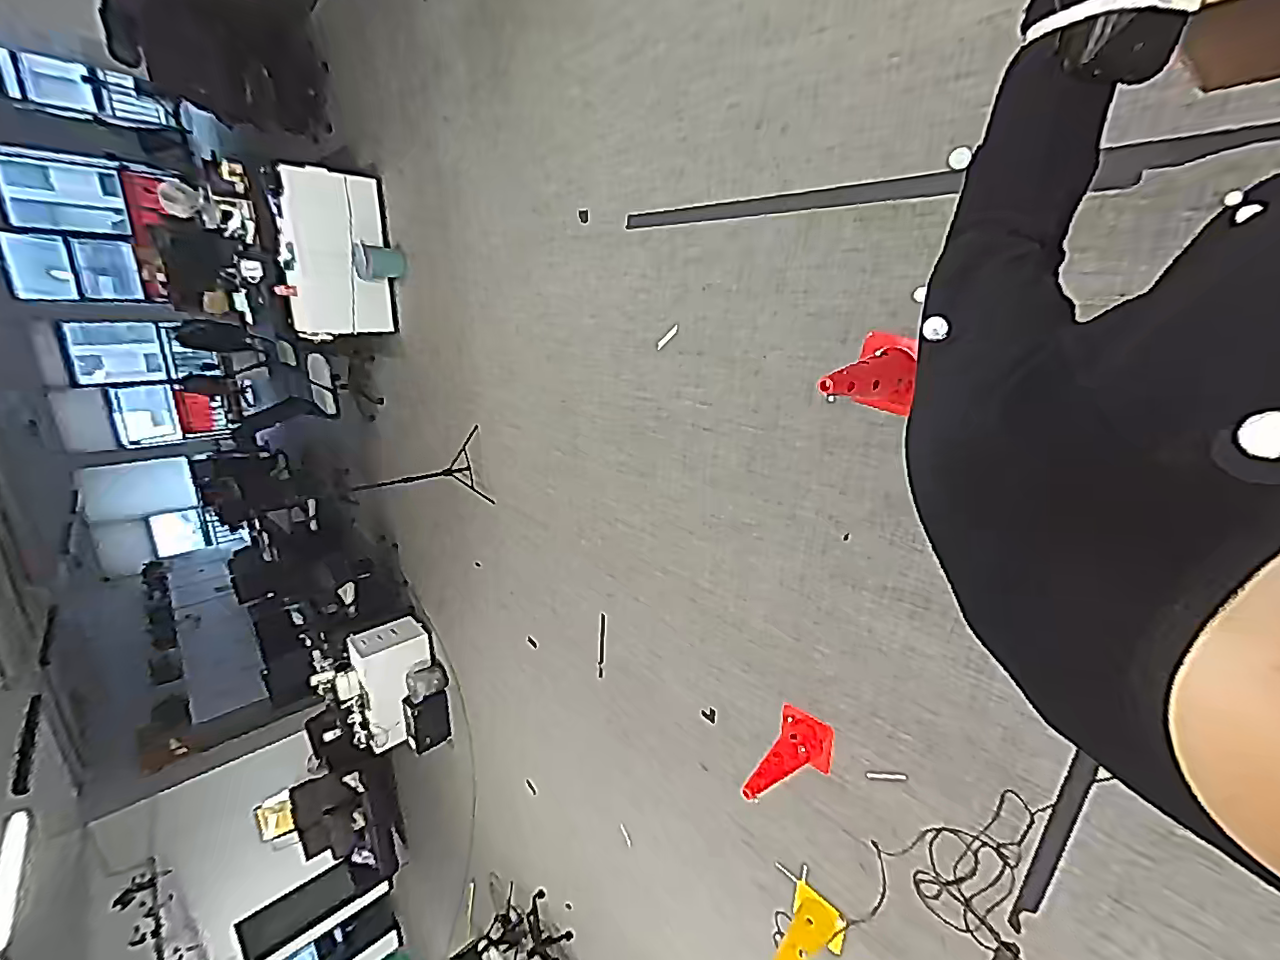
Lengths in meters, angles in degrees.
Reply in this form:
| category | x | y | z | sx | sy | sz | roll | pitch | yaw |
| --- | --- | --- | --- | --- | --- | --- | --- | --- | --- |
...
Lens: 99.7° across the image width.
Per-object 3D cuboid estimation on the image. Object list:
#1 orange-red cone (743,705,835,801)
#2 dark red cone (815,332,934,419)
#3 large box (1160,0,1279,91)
| category | x | y | z | sx | sy | sz | roll | pitch | yaw |
| --- | --- | --- | --- | --- | --- | --- | --- | --- | --- |
| orange-red cone | 0.470 | 0.957 | 1.809 | 0.198 | 0.360 | 0.199 | 18 | 116 | 46 |
| dark red cone | 0.541 | -0.248 | 1.326 | 0.201 | 0.394 | 0.202 | 27 | 121 | 40 |
| large box | 0.558 | -0.440 | 0.247 | 0.408 | 0.320 | 0.320 | 17 | 119 | 45 |
